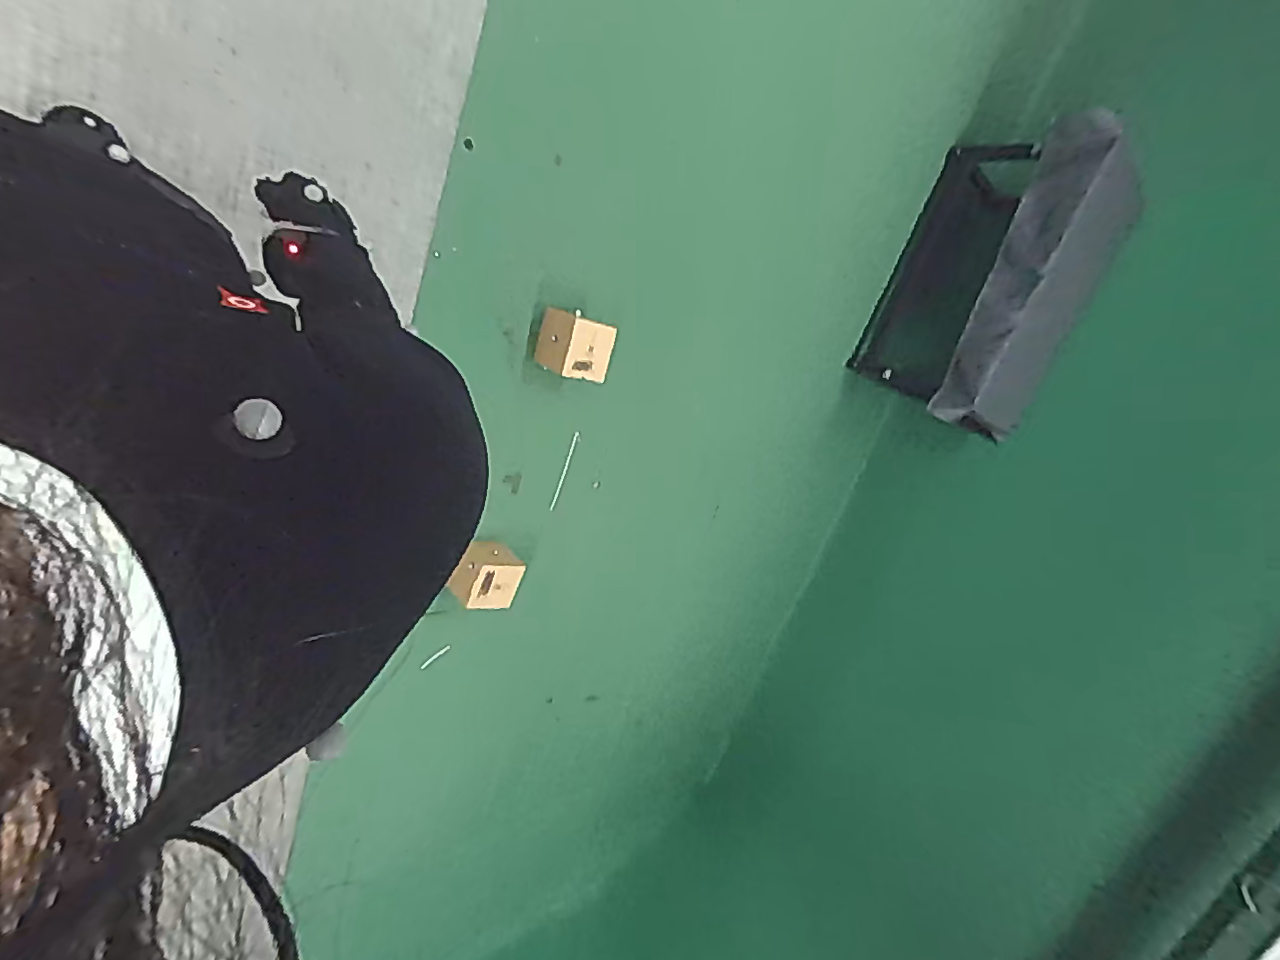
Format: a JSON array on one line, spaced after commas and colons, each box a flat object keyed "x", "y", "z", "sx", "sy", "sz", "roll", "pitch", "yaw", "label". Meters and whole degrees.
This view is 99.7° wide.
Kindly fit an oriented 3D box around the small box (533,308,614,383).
[{"x": -0.215, "y": -0.421, "z": 1.690, "sx": 0.168, "sy": 0.176, "sz": 0.179, "roll": 1, "pitch": 113, "yaw": -46, "label": "small box"}]
